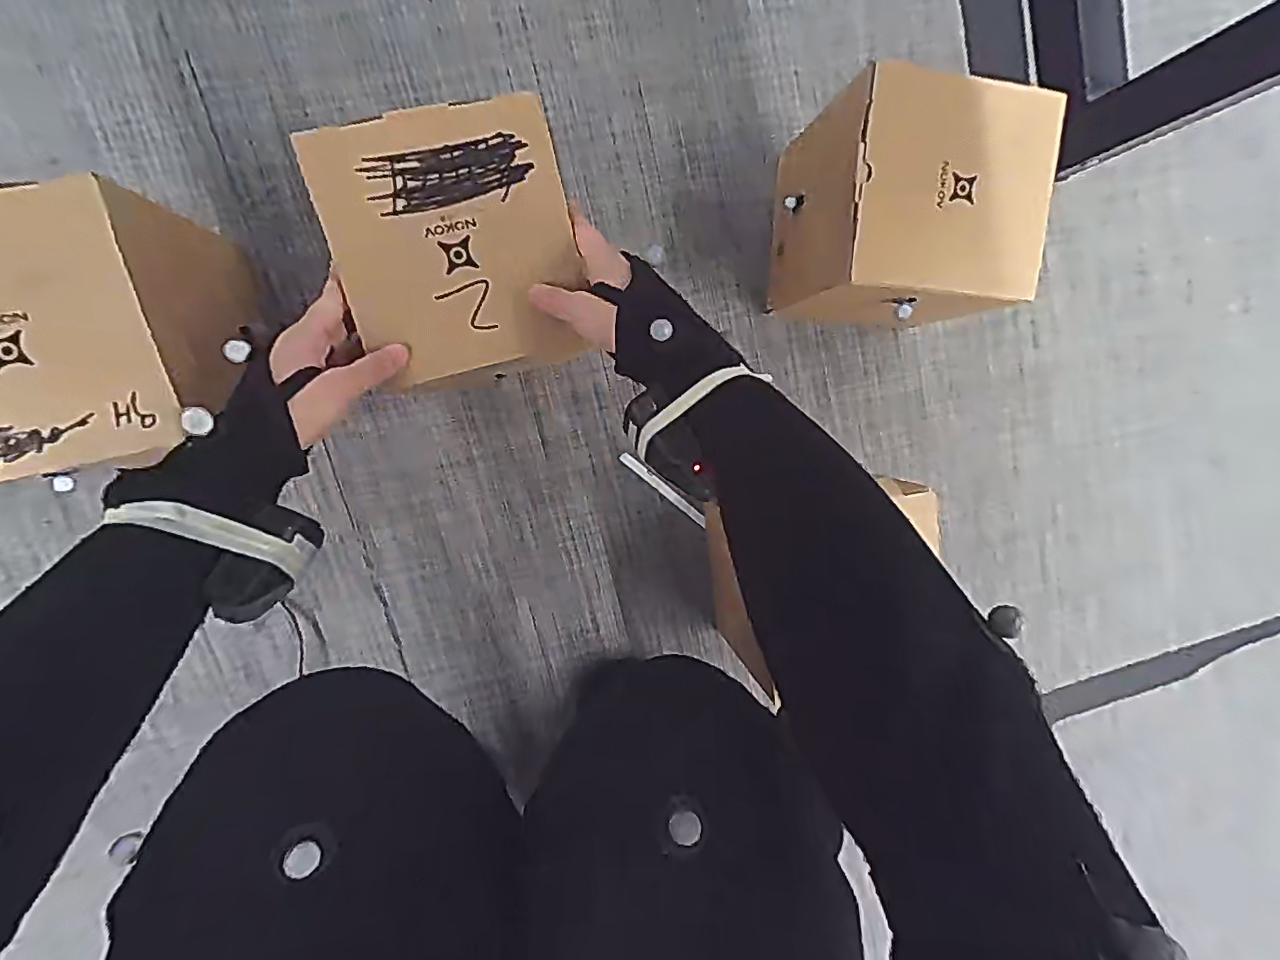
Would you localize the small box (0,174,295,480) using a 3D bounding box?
[{"bbox_3d":[-0.409,-0.101,0.419,0.168,0.176,0.179,-13,99,-8],"label":"small box"}]

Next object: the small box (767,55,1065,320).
[{"bbox_3d":[0.241,-0.250,0.513,0.179,0.176,0.168,2,98,-9],"label":"small box"}]
